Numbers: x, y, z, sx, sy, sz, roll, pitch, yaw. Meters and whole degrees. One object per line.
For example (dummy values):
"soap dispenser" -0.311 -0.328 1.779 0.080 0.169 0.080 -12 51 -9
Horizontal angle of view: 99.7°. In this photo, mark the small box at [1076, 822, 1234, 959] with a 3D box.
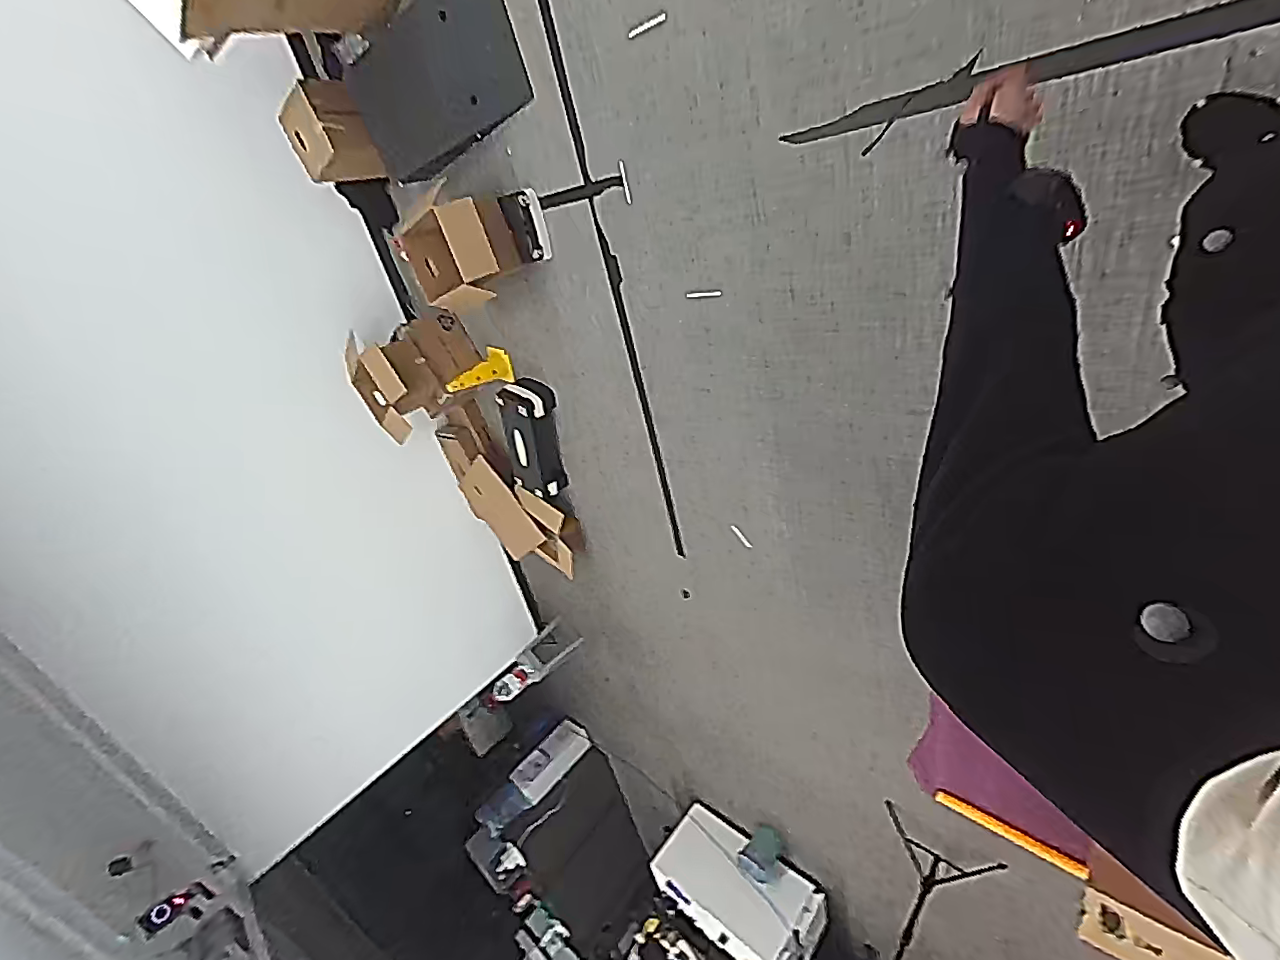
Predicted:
"small box" 0.902 0.750 0.952 0.179 0.176 0.168 10 125 44
